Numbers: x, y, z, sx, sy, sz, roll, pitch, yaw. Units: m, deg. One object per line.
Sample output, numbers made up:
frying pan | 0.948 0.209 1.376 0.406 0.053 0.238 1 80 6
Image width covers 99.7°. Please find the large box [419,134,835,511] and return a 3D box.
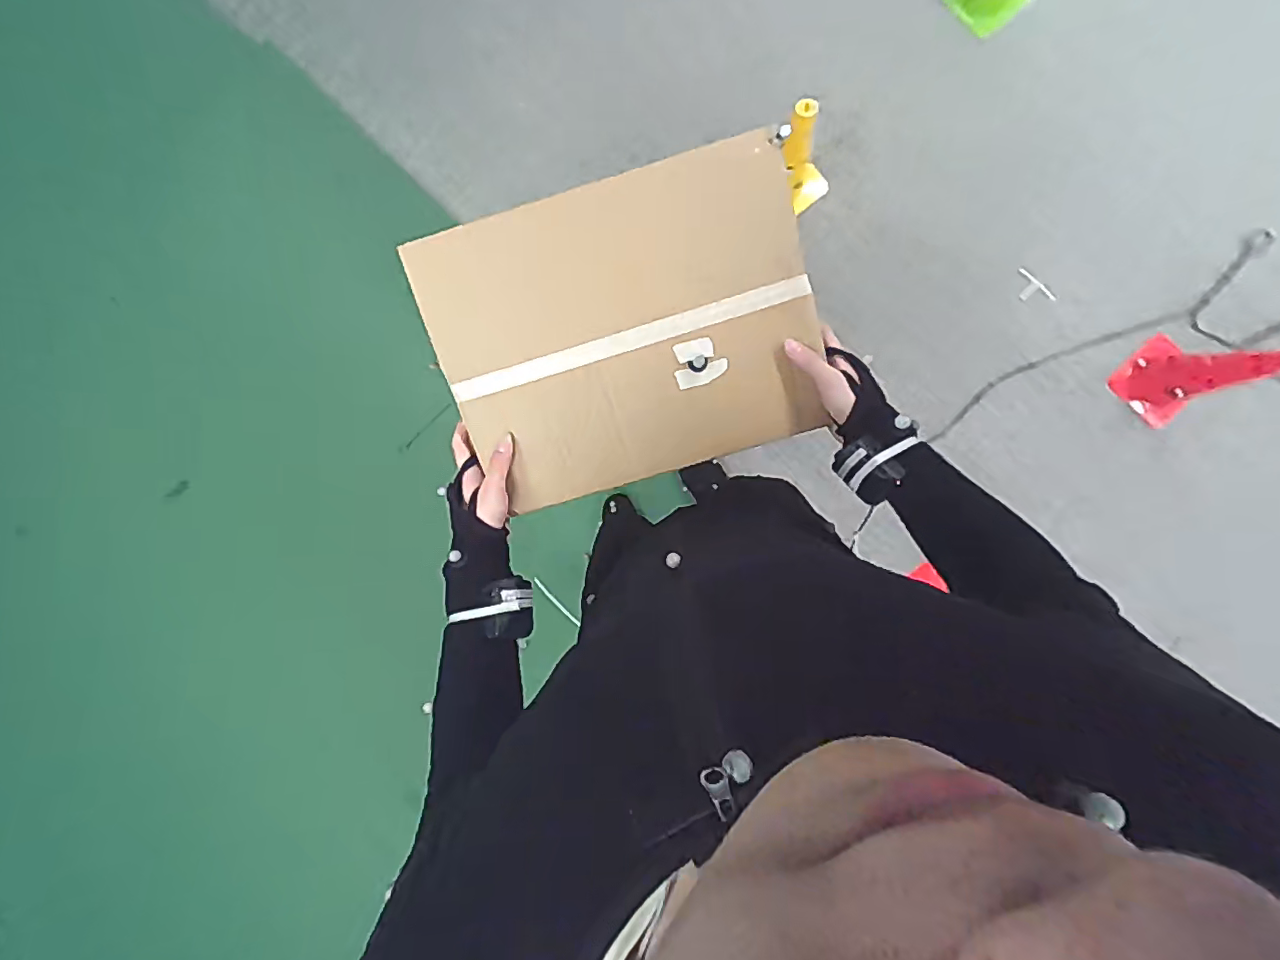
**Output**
large box | -0.009 -0.193 0.740 0.408 0.320 0.320 -16 105 3

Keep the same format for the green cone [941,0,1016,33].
green cone | 0.926 -1.363 1.326 0.202 0.368 0.200 -41 89 7
